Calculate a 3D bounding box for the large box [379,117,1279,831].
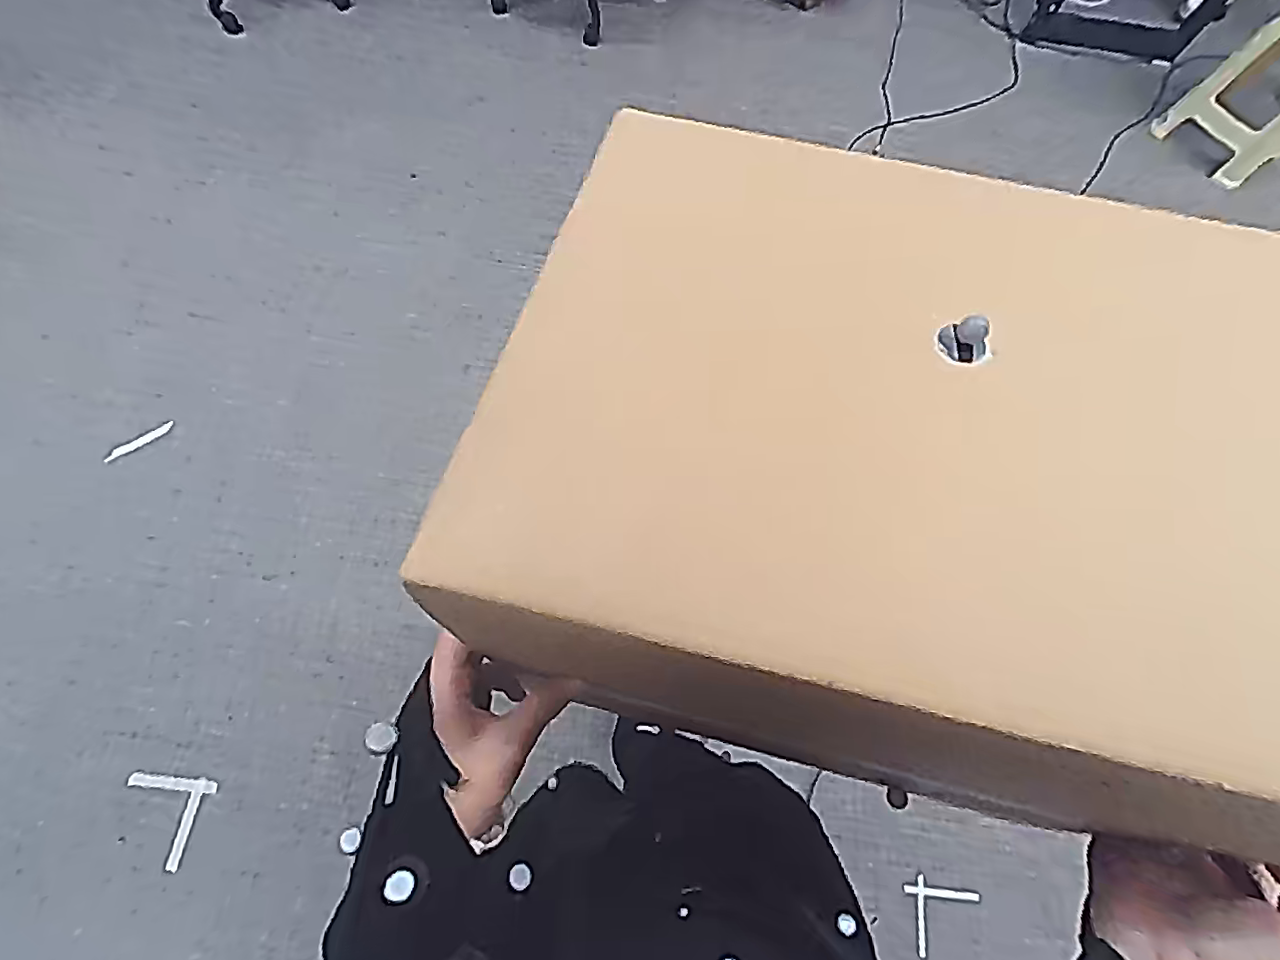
[{"bbox_3d":[0.123,0.008,0.378,0.408,0.320,0.320,11,64,4],"label":"large box"}]
